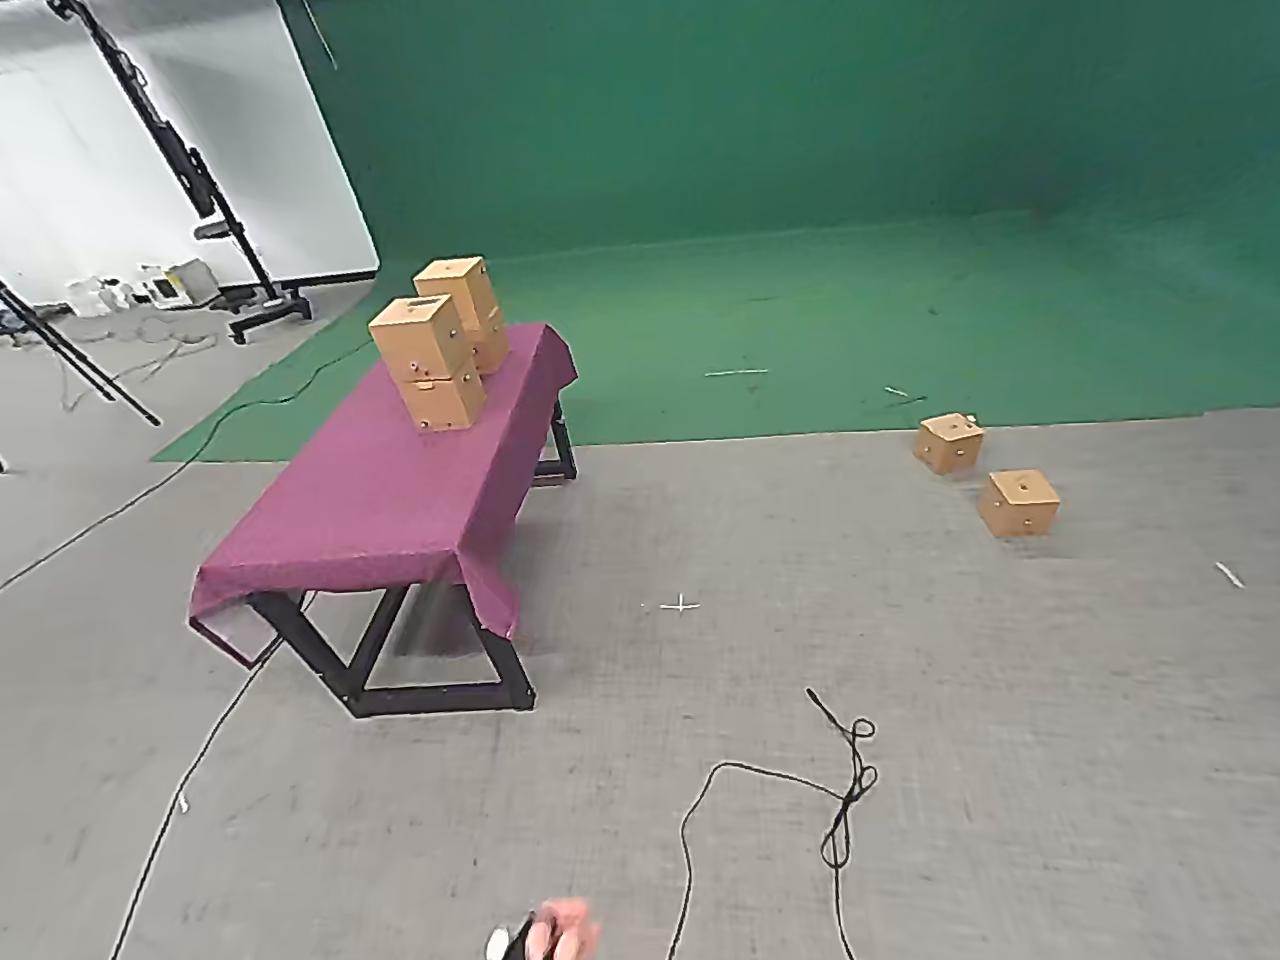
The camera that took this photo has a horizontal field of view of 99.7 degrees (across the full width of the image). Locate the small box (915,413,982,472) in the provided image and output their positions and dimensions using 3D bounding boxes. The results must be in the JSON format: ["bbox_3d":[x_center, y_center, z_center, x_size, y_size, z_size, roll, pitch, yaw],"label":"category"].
[{"bbox_3d":[1.279,-0.153,2.260,0.179,0.176,0.168,-14,39,-6],"label":"small box"}]

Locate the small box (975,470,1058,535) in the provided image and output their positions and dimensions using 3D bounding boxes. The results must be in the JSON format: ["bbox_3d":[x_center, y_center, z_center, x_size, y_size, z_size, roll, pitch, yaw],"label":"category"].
[{"bbox_3d":[1.348,0.085,1.949,0.168,0.176,0.179,-3,39,6],"label":"small box"}]

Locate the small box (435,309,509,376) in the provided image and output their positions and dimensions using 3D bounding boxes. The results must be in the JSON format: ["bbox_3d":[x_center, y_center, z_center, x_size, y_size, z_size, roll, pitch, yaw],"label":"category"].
[{"bbox_3d":[-0.563,-0.463,1.840,0.168,0.176,0.179,0,39,10],"label":"small box"}]

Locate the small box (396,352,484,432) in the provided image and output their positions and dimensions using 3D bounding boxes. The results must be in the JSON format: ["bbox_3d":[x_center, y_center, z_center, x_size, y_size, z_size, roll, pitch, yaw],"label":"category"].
[{"bbox_3d":[-0.572,-0.251,1.578,0.168,0.176,0.179,-4,38,6],"label":"small box"}]

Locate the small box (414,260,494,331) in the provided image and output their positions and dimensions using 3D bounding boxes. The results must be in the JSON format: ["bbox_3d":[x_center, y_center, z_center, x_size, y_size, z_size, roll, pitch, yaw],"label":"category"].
[{"bbox_3d":[-0.588,-0.588,1.739,0.168,0.176,0.179,-2,39,8],"label":"small box"}]
